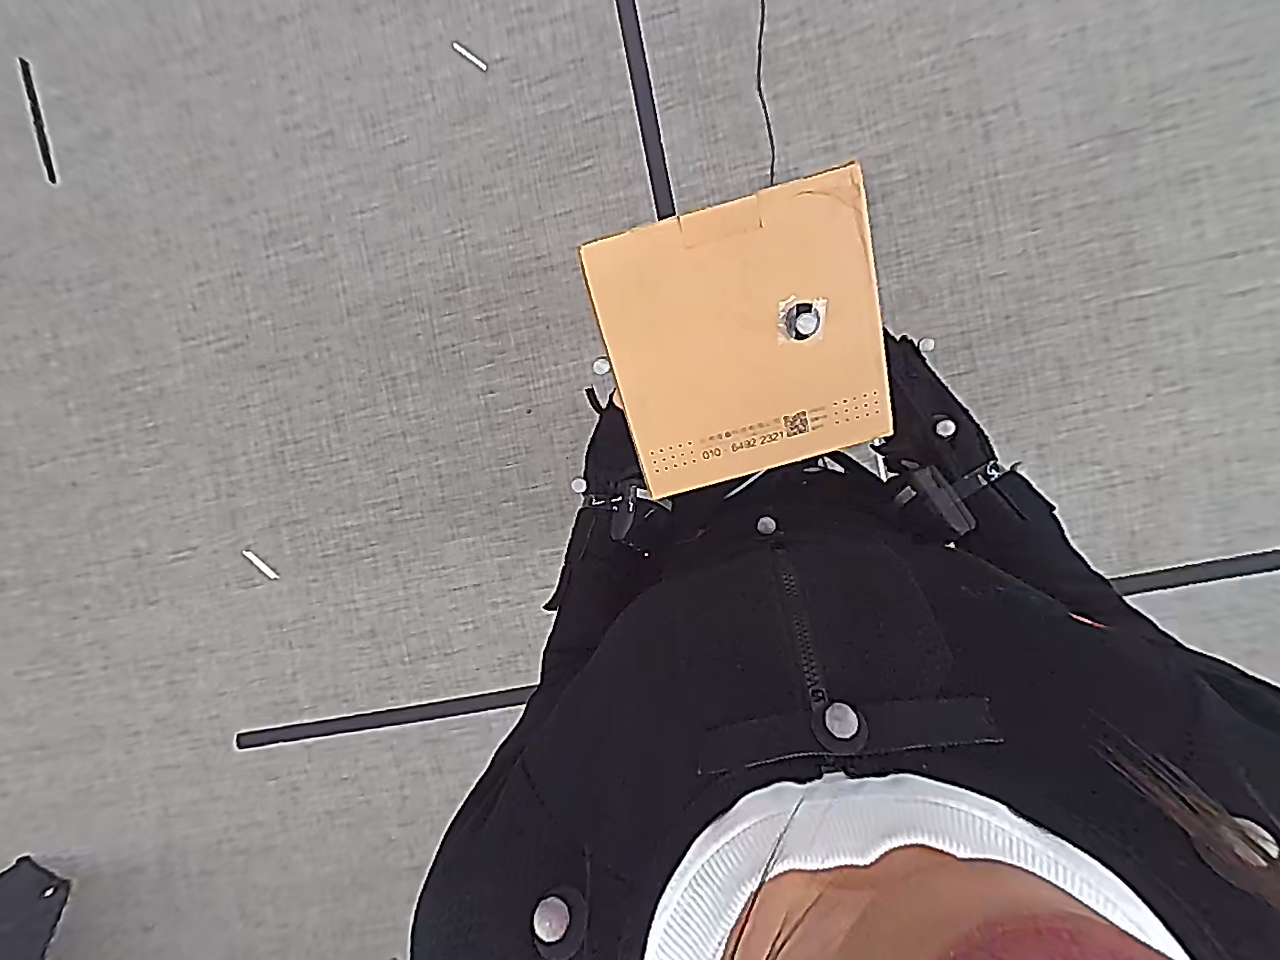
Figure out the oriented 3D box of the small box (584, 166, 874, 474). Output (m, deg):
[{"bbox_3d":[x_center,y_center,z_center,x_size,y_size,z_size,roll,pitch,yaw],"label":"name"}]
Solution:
[{"bbox_3d":[0.065,-0.116,0.424,0.168,0.179,0.176,-15,111,5],"label":"small box"}]
